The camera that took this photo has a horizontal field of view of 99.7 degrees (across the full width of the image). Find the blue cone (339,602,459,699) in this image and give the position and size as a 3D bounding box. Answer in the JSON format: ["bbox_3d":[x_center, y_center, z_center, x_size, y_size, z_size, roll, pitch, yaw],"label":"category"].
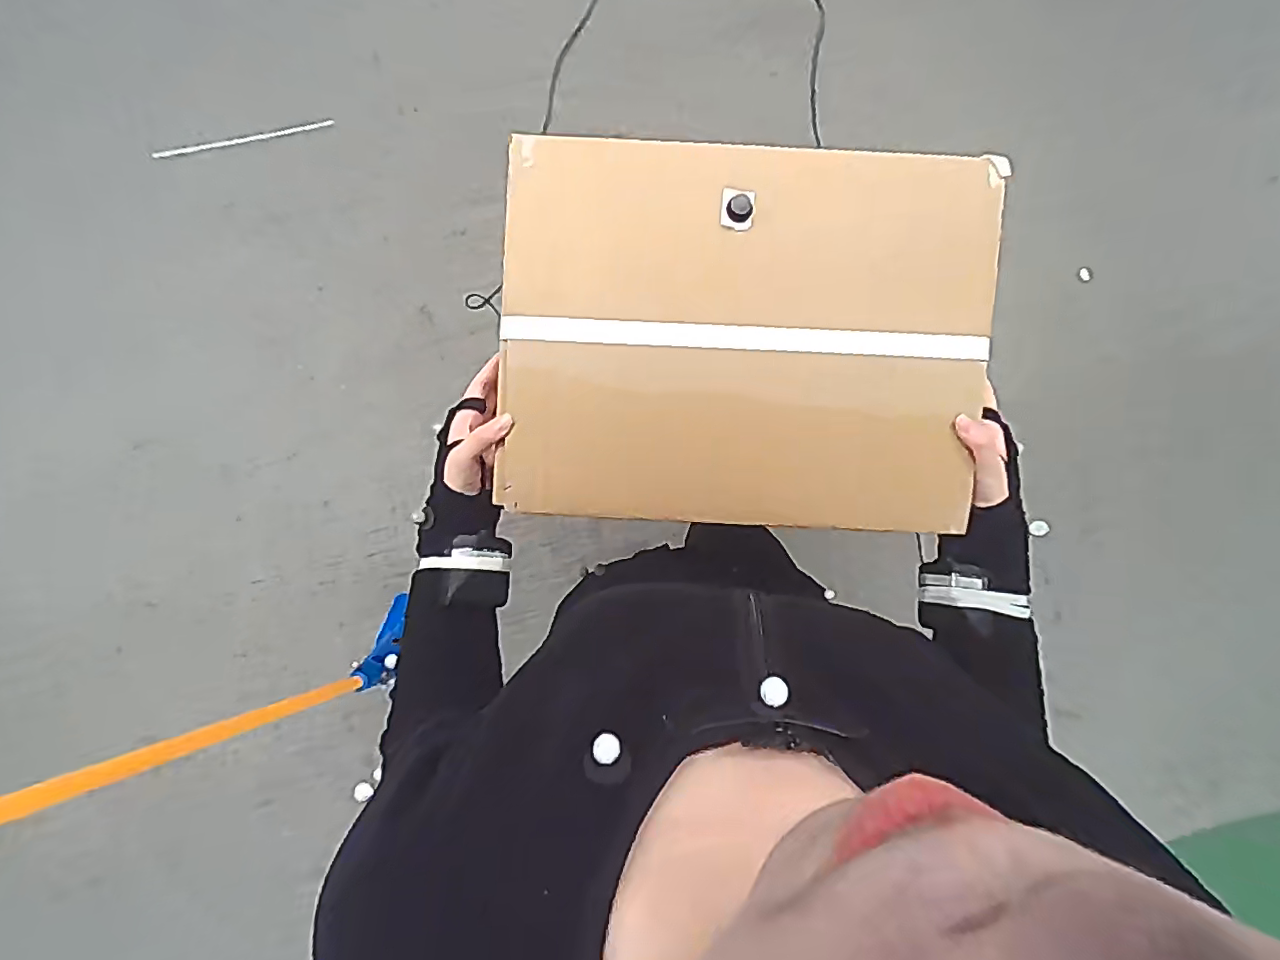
[{"bbox_3d":[-0.572,0.423,1.246,0.192,0.380,0.193,20,87,-2],"label":"blue cone"}]
